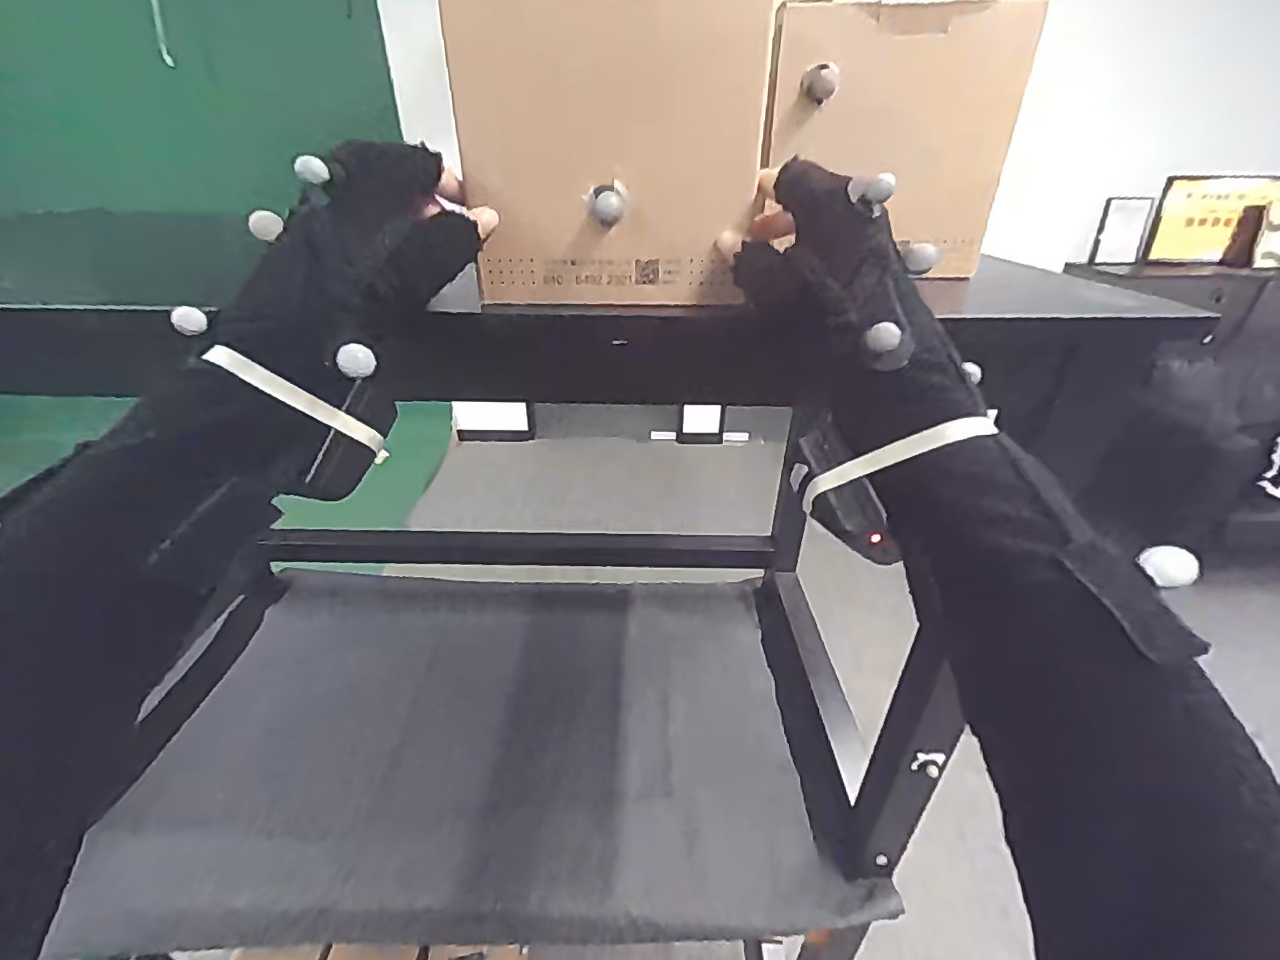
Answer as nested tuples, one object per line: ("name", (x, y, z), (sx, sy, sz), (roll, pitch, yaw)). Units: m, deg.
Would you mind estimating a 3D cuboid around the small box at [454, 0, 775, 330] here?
("small box", (-0.014, -0.212, 0.378), (0.168, 0.176, 0.179), (0, 30, 0))
